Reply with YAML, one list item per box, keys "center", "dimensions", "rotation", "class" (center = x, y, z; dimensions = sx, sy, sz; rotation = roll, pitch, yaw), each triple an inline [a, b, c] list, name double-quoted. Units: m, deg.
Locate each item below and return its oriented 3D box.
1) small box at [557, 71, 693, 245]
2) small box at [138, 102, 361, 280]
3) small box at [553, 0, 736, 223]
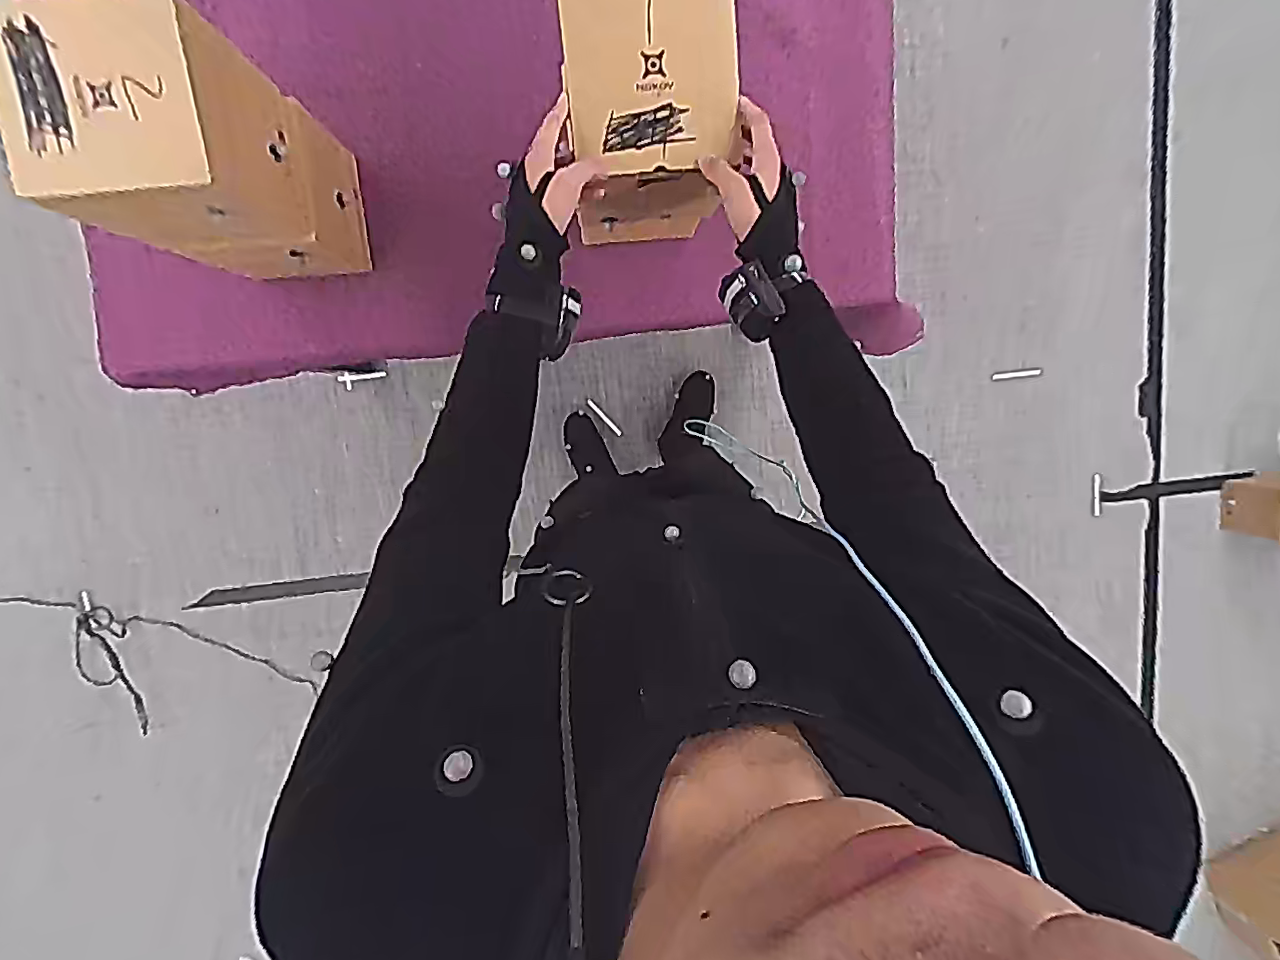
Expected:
- center: [-0.012, -0.436, 0.746]
  dimensions: [0.179, 0.176, 0.168]
  rotation: [-6, 99, -3]
  class: "small box"
- center: [-0.496, -0.372, 0.722]
  dimensions: [0.179, 0.176, 0.168]
  rotation: [-5, 99, -3]
  class: "small box"
- center: [0.003, -0.392, 0.586]
  dimensions: [0.168, 0.176, 0.179]
  rotation: [-6, 99, -3]
  class: "small box"
